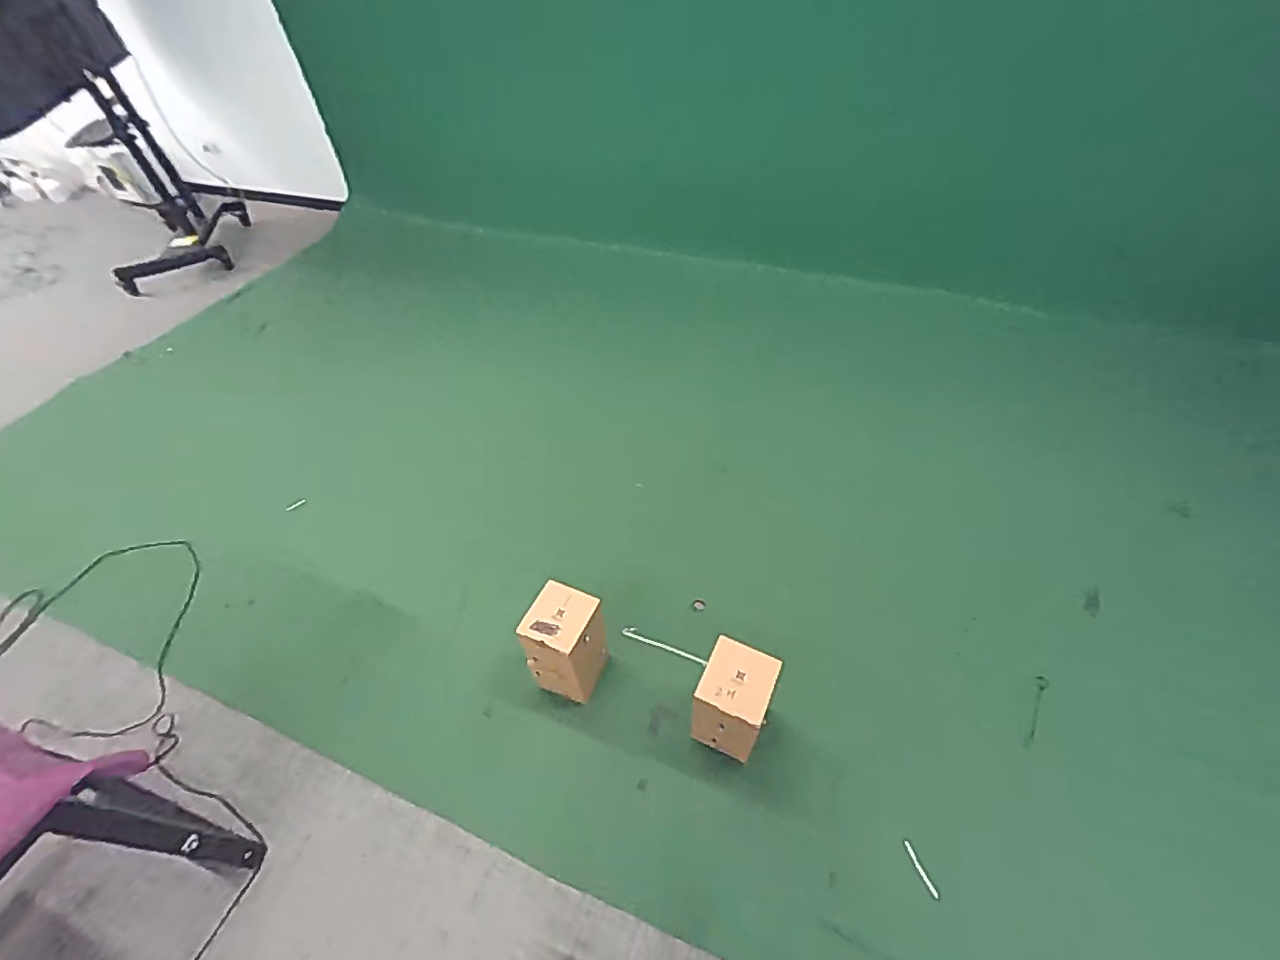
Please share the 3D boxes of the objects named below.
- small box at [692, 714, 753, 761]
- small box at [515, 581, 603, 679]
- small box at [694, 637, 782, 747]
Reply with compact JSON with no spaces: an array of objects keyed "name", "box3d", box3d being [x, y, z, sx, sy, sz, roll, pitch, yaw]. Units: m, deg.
[{"name":"small box","box3d":[0.247,0.637,1.486,0.168,0.176,0.179,18,54,18]},{"name":"small box","box3d":[-0.212,0.416,1.489,0.168,0.176,0.179,18,51,19]},{"name":"small box","box3d":[0.241,0.533,1.358,0.168,0.176,0.179,20,54,19]}]
